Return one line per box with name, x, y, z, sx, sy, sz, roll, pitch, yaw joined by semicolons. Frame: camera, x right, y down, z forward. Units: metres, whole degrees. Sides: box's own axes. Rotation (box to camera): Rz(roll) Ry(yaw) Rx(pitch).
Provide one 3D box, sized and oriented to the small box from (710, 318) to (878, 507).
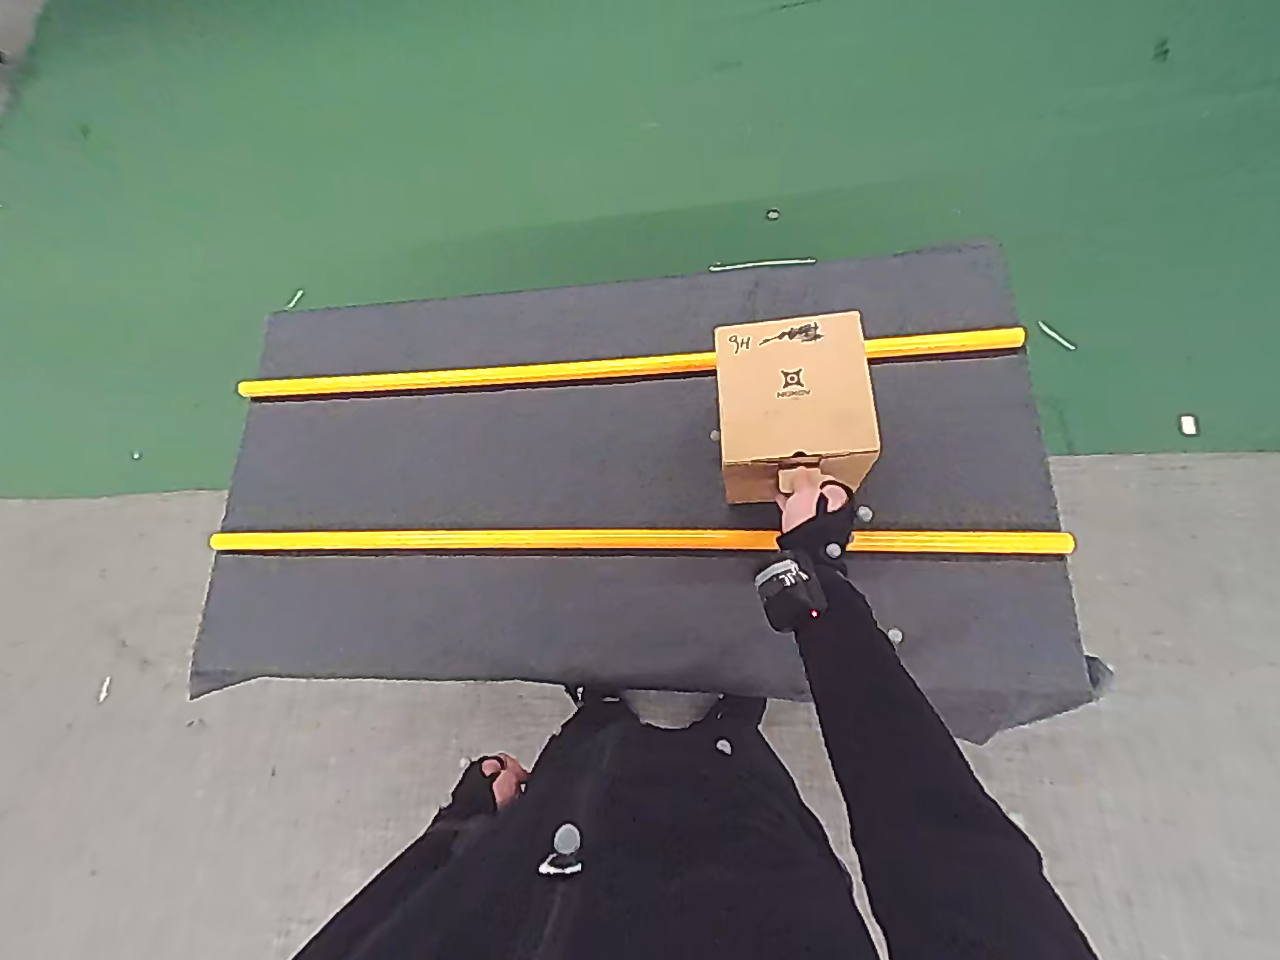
small box;0.189;-0.070;0.683;0.168;0.176;0.179;-9;70;12
